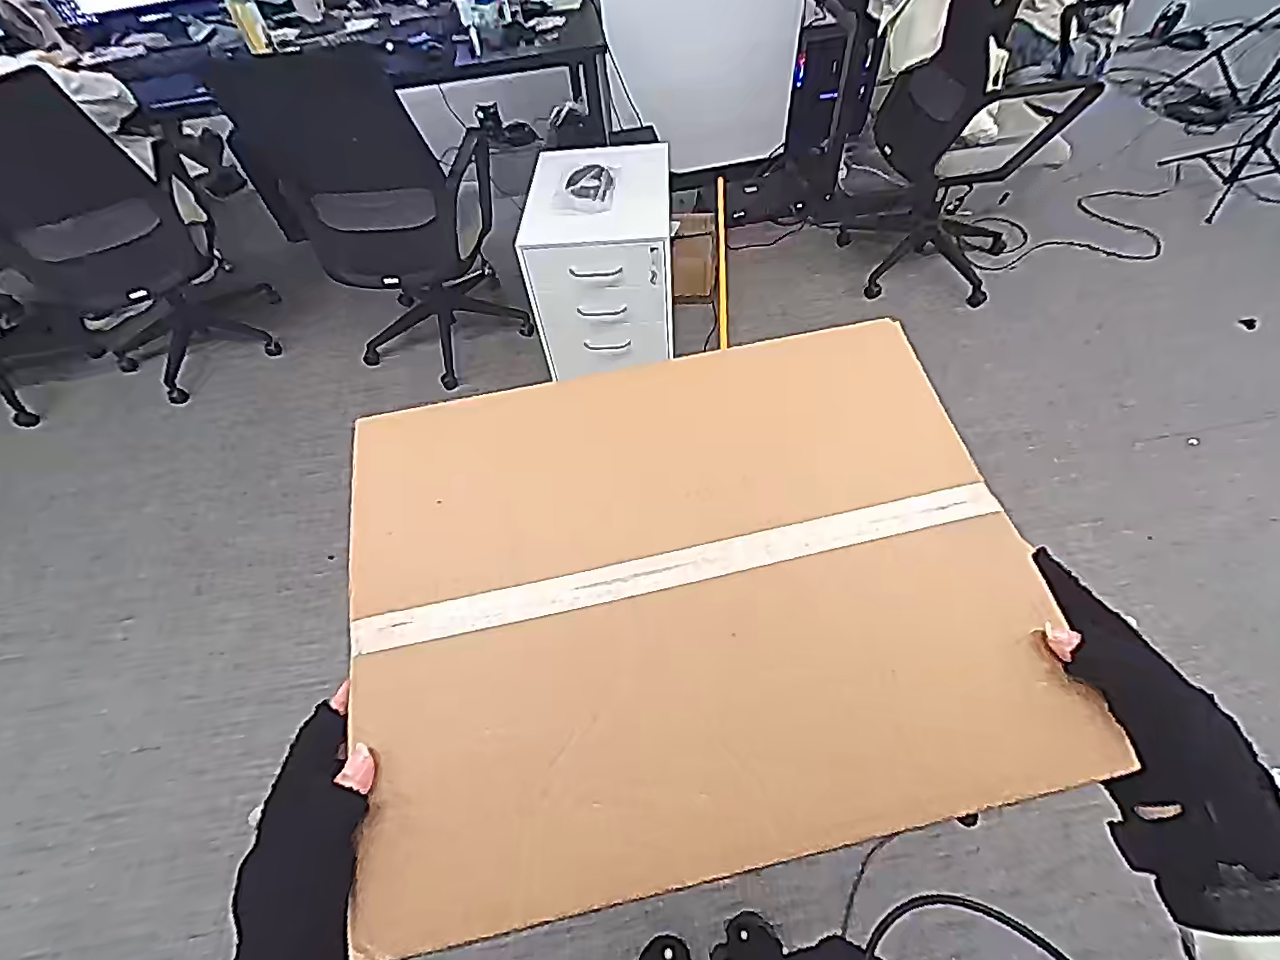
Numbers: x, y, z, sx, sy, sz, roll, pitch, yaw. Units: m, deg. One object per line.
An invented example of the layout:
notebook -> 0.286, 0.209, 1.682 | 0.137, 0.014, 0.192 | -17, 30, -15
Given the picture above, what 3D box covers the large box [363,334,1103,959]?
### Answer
large box -> 0.034, 0.126, 0.474 | 0.408, 0.320, 0.320 | -12, 64, -3
